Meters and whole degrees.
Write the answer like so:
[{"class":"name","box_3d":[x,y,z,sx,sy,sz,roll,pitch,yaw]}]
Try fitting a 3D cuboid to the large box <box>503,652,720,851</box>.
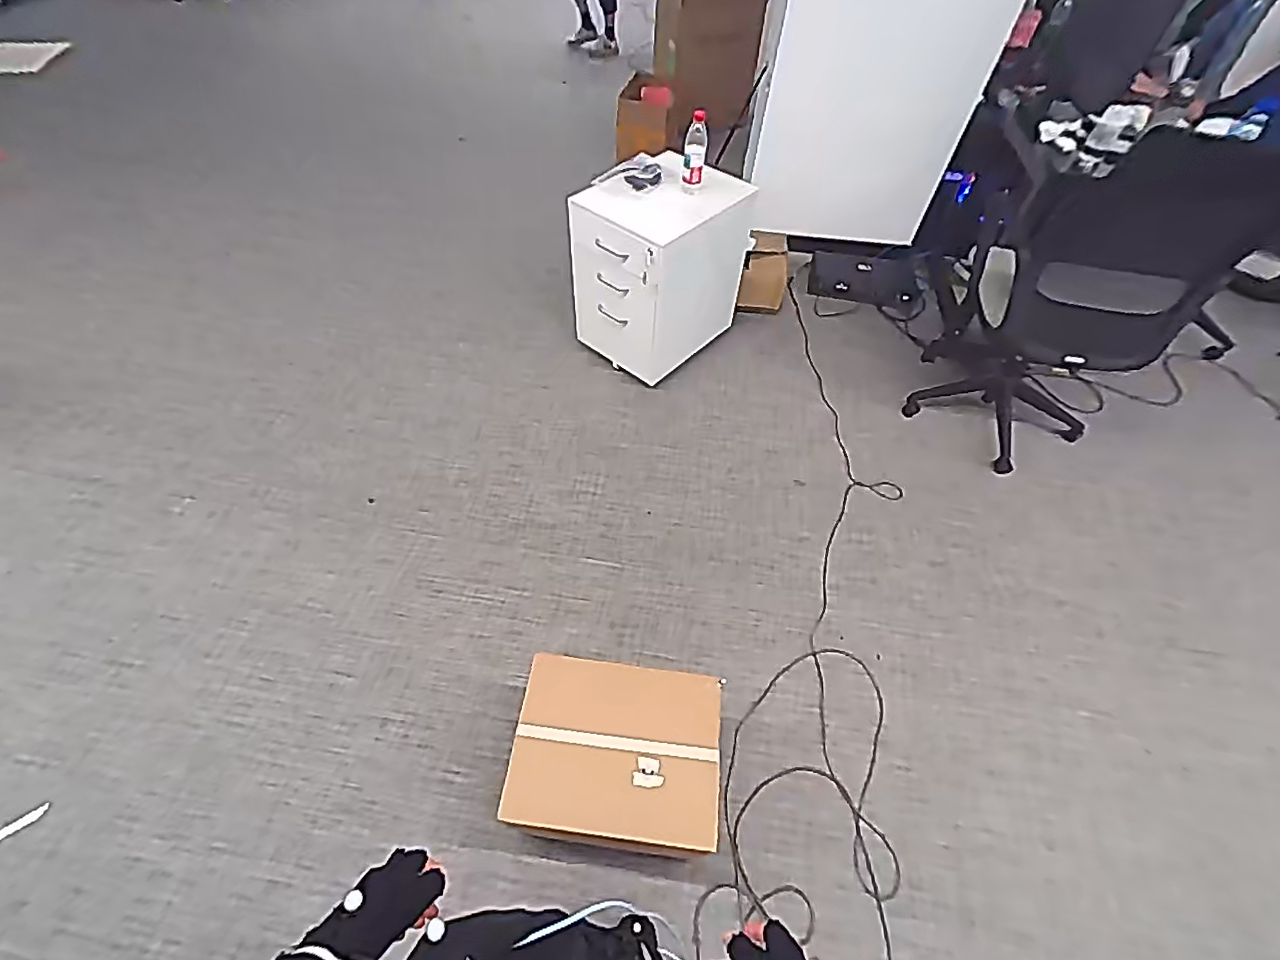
[{"class":"large box","box_3d":[-0.051,0.605,1.194,0.408,0.320,0.320,7,54,2]}]
